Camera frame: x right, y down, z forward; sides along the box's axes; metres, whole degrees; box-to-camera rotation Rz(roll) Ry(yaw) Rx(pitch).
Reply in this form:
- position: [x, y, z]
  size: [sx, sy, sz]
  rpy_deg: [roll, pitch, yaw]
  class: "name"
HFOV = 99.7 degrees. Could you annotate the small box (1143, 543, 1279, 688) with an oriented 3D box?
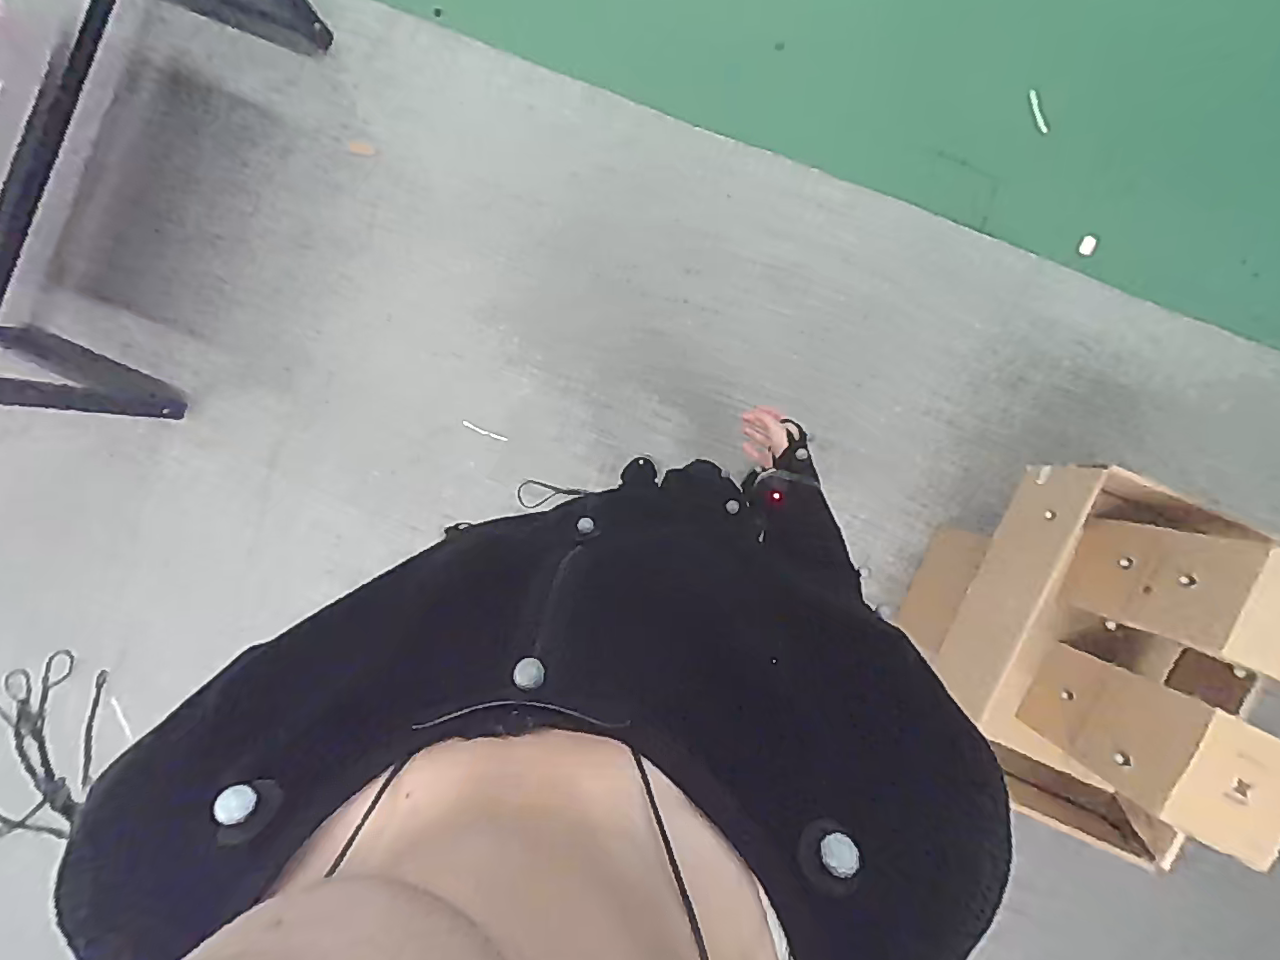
- position: [0.901, 0.200, 0.781]
  size: [0.179, 0.176, 0.168]
  rpy_deg: [23, 93, 3]
  class: "small box"
